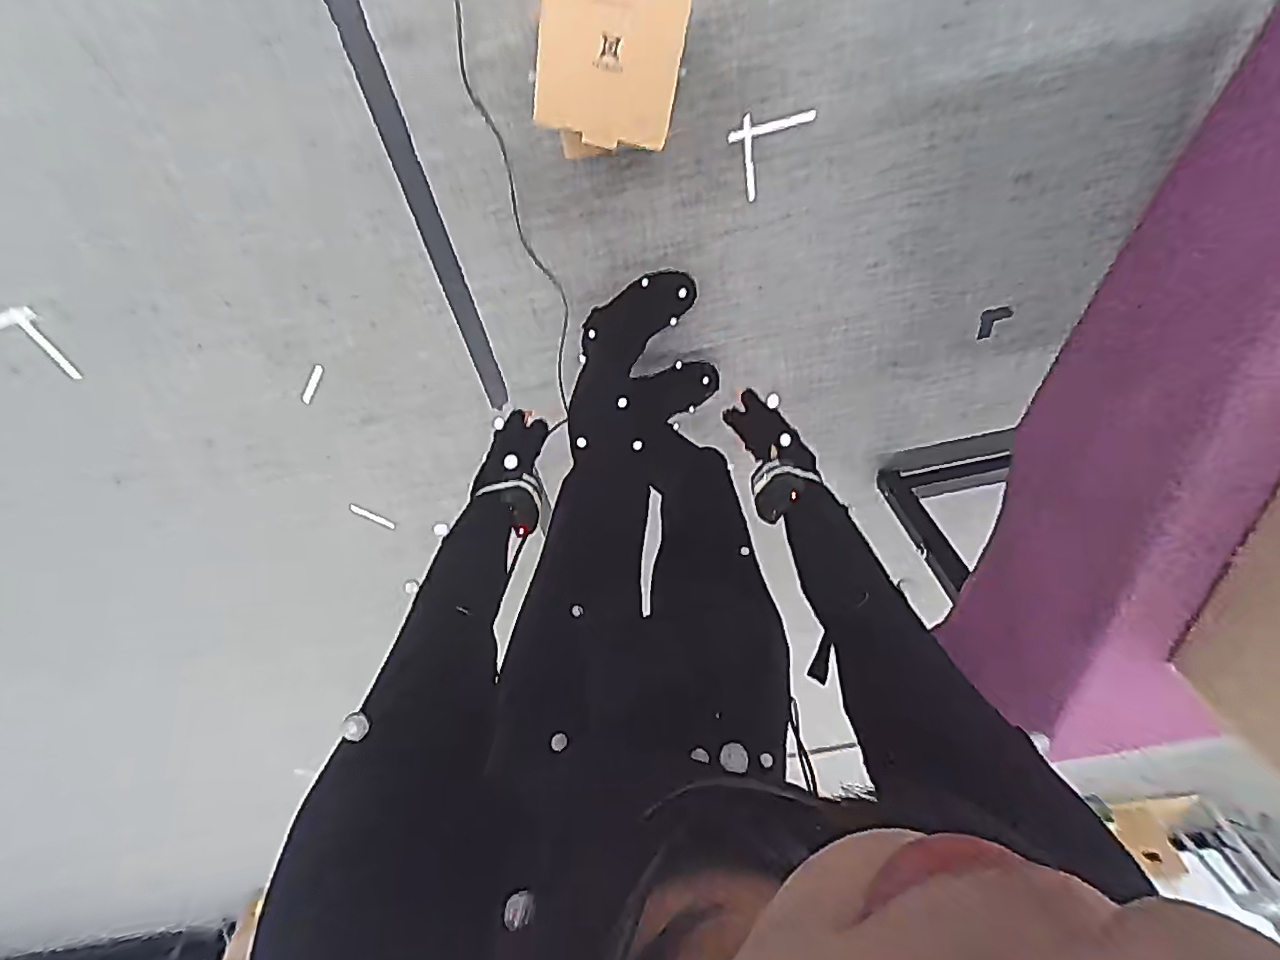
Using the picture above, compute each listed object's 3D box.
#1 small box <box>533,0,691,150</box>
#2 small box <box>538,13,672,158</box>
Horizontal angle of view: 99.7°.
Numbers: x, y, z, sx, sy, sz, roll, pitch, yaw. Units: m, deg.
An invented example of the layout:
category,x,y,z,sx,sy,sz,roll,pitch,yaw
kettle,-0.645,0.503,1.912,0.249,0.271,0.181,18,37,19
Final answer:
category,x,y,z,sx,sy,sz,roll,pitch,yaw
small box,-0.039,-0.539,0.678,0.168,0.176,0.179,5,126,-10
small box,-0.050,-0.613,0.825,0.168,0.176,0.179,-9,128,3
